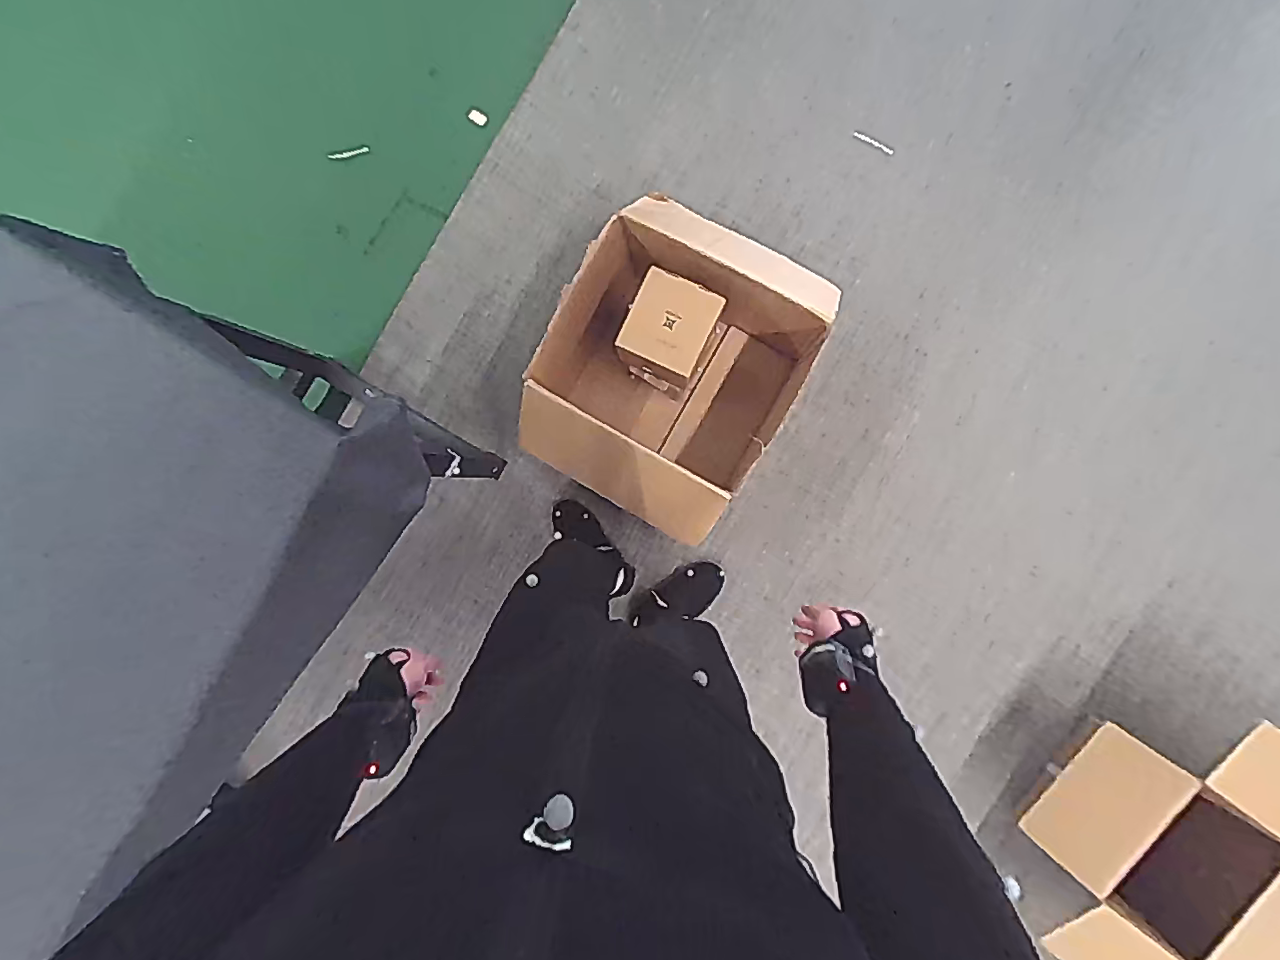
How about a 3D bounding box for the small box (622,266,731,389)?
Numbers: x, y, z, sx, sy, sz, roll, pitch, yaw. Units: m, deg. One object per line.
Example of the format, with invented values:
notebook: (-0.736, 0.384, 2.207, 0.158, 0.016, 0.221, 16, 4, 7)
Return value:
small box: (0.073, -0.312, 1.142, 0.168, 0.176, 0.179, 25, 92, 3)
